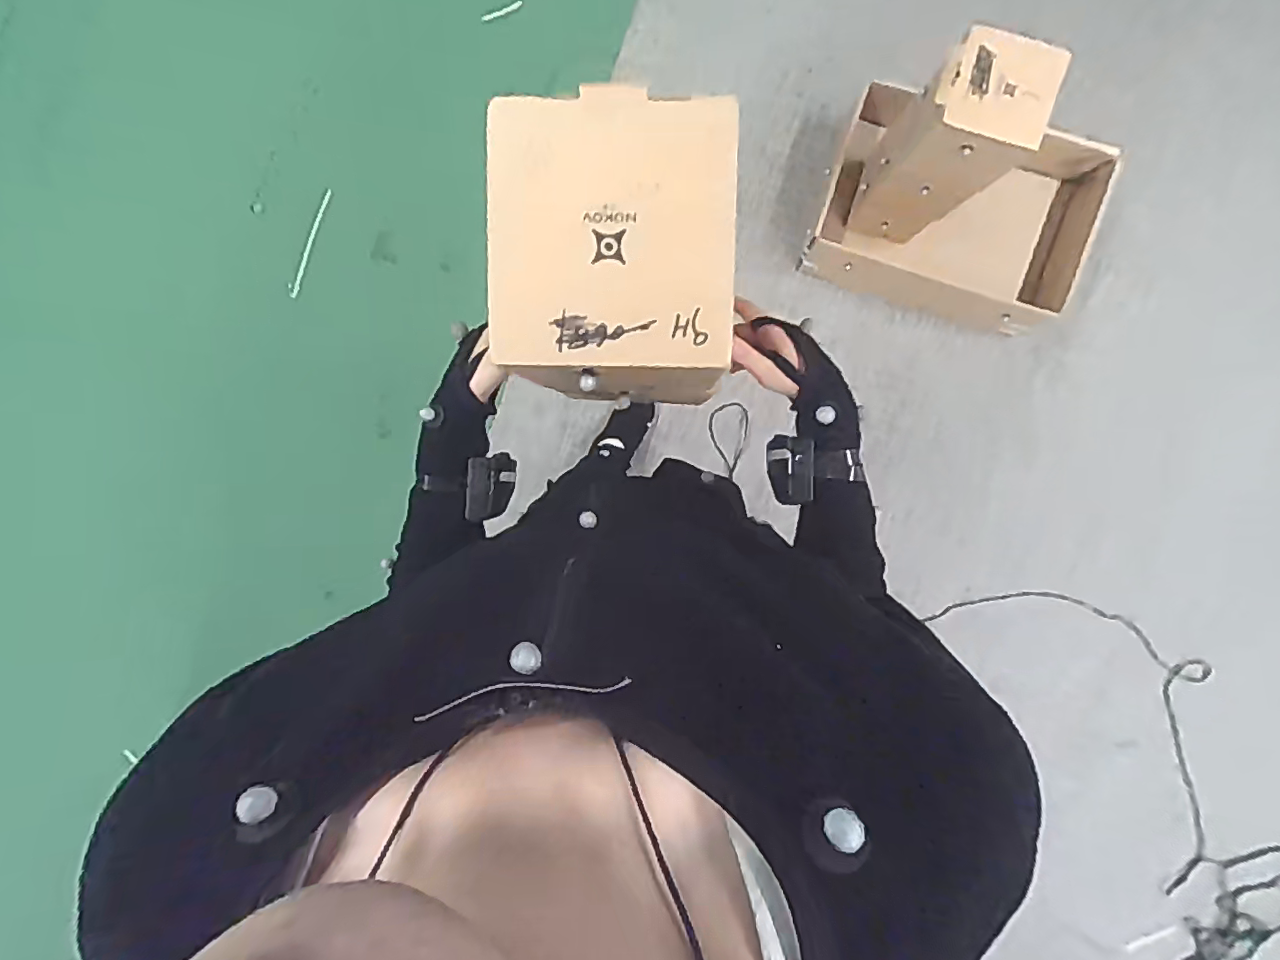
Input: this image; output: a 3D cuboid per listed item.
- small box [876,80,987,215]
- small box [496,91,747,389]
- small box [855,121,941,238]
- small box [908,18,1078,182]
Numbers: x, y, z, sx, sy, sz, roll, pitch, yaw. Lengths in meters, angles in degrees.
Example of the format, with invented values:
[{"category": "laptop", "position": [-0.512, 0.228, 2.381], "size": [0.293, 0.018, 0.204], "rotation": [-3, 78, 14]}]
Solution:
[{"category": "small box", "position": [0.628, -0.689, 1.141], "size": [0.179, 0.176, 0.168], "rotation": [16, 96, 2]}, {"category": "small box", "position": [-0.010, -0.174, 0.440], "size": [0.168, 0.176, 0.179], "rotation": [2, 94, 4]}, {"category": "small box", "position": [0.640, -0.713, 1.302], "size": [0.168, 0.176, 0.179], "rotation": [15, 94, 1]}, {"category": "small box", "position": [0.621, -0.671, 0.978], "size": [0.179, 0.176, 0.168], "rotation": [16, 96, 1]}]
